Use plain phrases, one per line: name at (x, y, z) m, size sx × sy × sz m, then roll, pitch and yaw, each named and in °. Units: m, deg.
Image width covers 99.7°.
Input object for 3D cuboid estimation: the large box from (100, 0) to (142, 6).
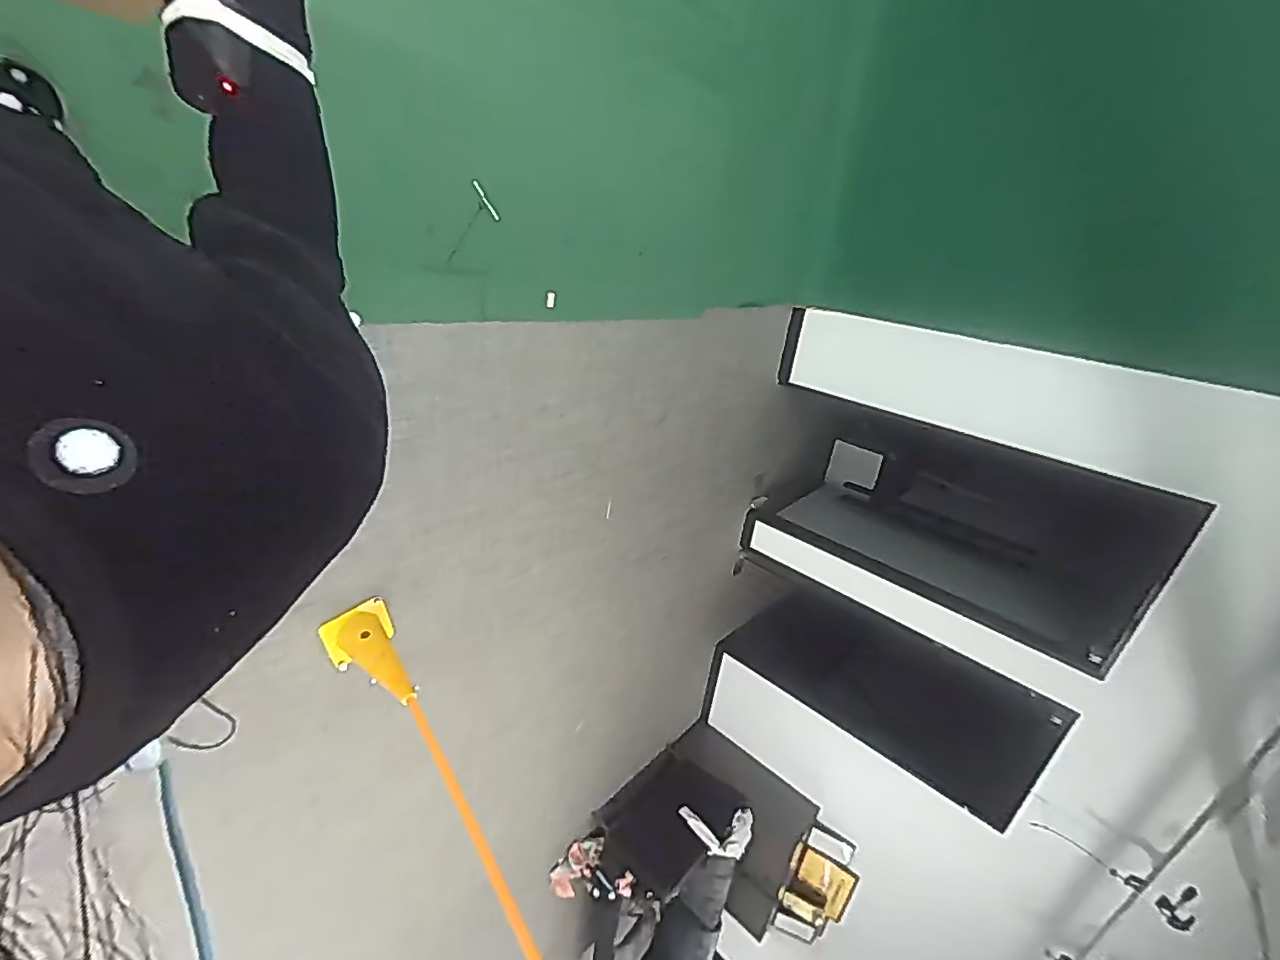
large box at (-0.524, -0.523, 0.275) m, size 0.408 × 0.320 × 0.320 m, roll -16°, pitch 123°, yaw -46°
